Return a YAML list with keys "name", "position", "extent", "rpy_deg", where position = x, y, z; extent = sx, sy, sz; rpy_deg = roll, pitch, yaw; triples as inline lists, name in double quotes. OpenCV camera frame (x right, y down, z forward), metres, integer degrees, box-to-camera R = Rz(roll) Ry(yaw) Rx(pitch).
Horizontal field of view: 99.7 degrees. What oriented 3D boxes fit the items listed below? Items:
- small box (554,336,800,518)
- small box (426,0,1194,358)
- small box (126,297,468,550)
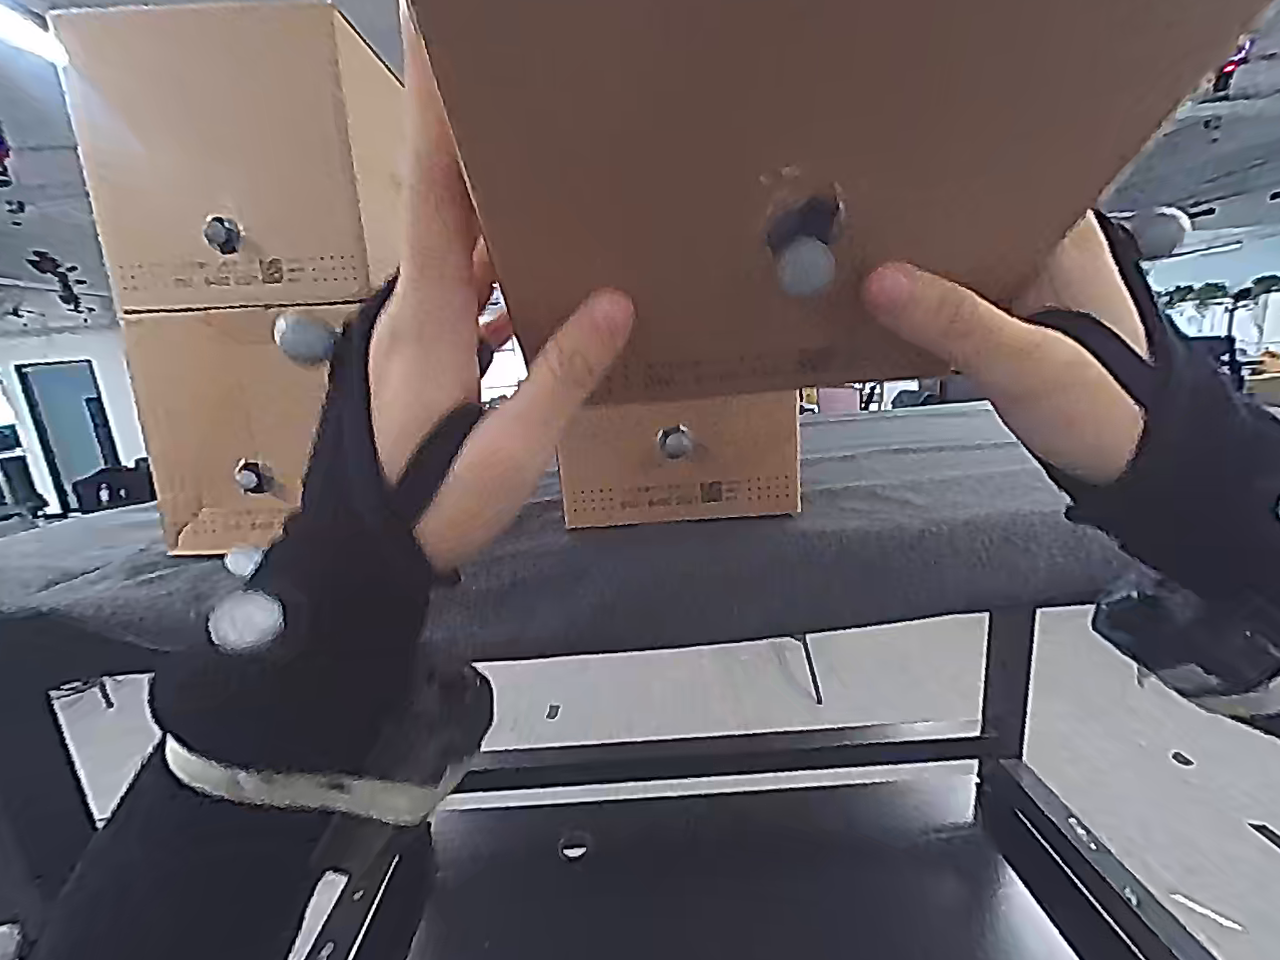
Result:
- name: "small box"
  position: [0.025, -0.070, 0.439]
  extent: [0.168, 0.176, 0.179]
  rpy_deg: [-4, 11, 1]
- name: "small box"
  position: [0.034, -0.152, 0.170]
  extent: [0.168, 0.179, 0.176]
  rpy_deg: [-4, -23, -3]
- name: "small box"
  position: [-0.247, -0.048, 0.441]
  extent: [0.168, 0.176, 0.179]
  rpy_deg: [-3, 11, -1]
